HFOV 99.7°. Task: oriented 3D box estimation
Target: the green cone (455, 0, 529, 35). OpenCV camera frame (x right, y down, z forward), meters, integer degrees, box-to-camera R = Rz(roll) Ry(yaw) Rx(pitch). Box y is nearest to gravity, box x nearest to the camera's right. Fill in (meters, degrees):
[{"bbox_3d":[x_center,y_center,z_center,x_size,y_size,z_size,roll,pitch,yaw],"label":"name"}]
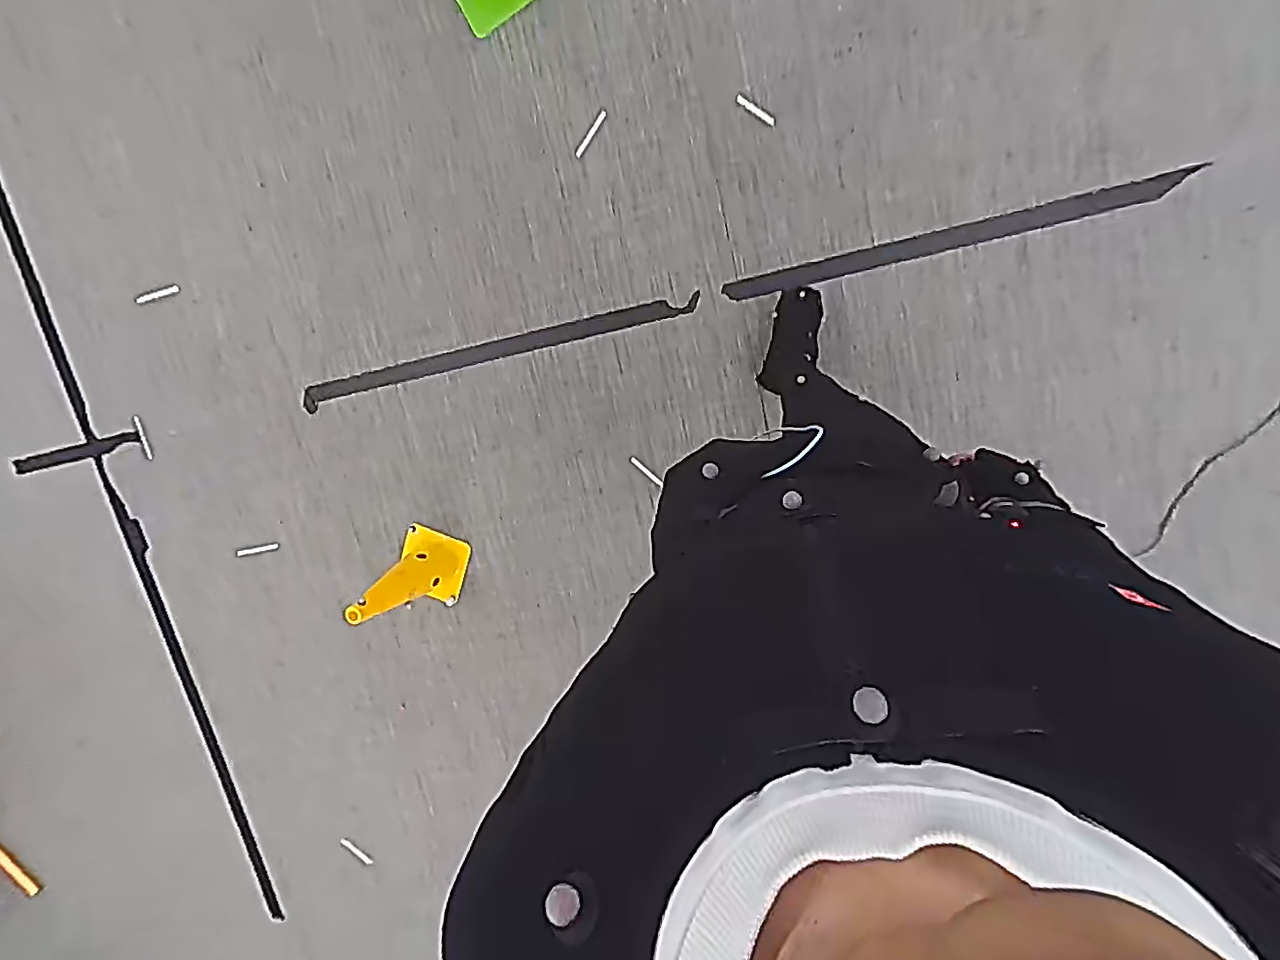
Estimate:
[{"bbox_3d":[-0.383,-1.174,1.123,0.202,0.368,0.200,-28,95,12],"label":"green cone"}]
